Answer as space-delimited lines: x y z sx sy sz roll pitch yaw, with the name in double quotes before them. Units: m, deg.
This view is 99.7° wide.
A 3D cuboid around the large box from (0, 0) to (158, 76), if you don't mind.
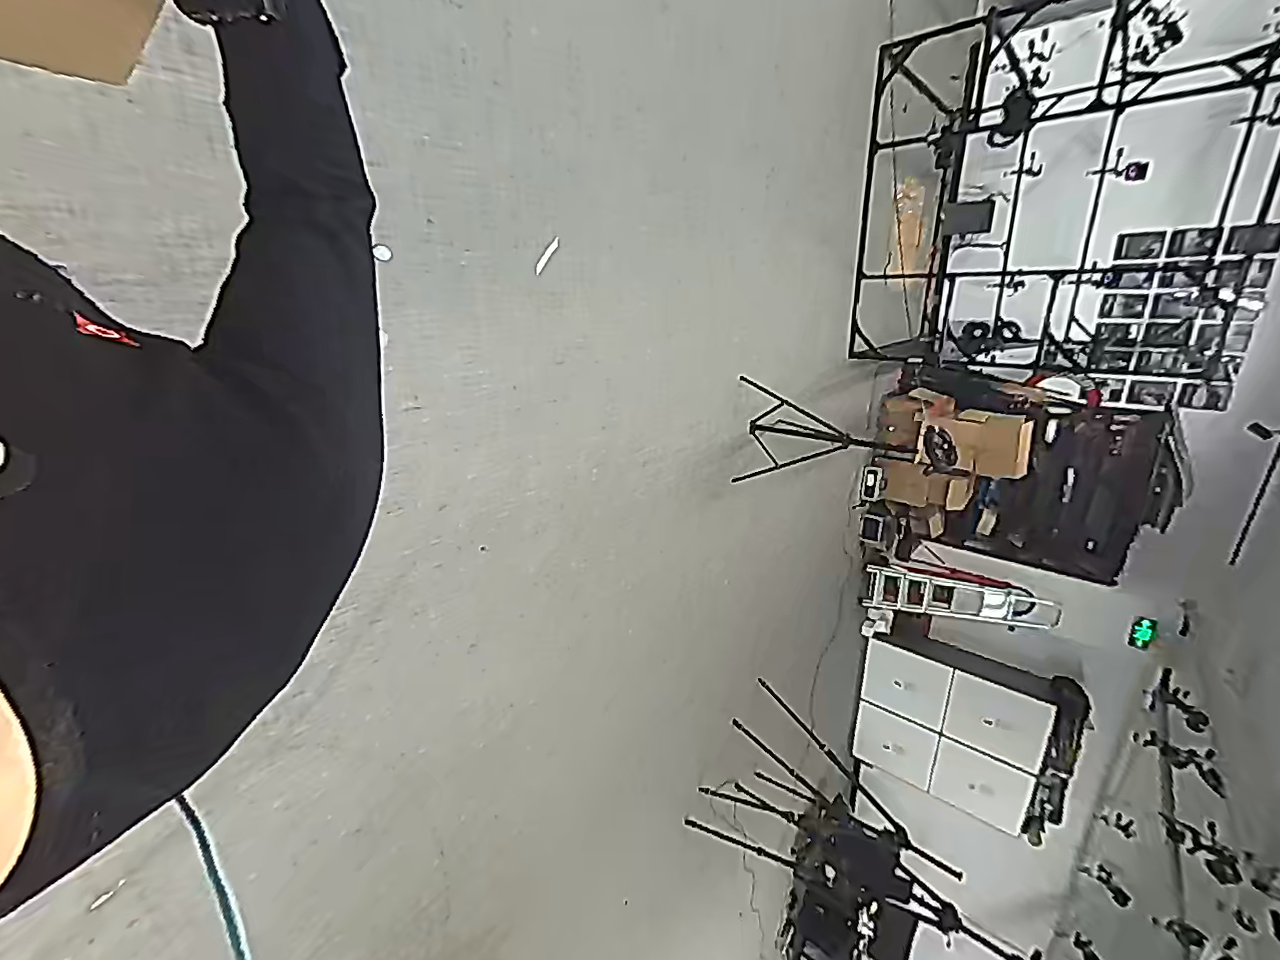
"large box" -0.530 -0.469 0.255 0.408 0.320 0.320 -18 114 -46
